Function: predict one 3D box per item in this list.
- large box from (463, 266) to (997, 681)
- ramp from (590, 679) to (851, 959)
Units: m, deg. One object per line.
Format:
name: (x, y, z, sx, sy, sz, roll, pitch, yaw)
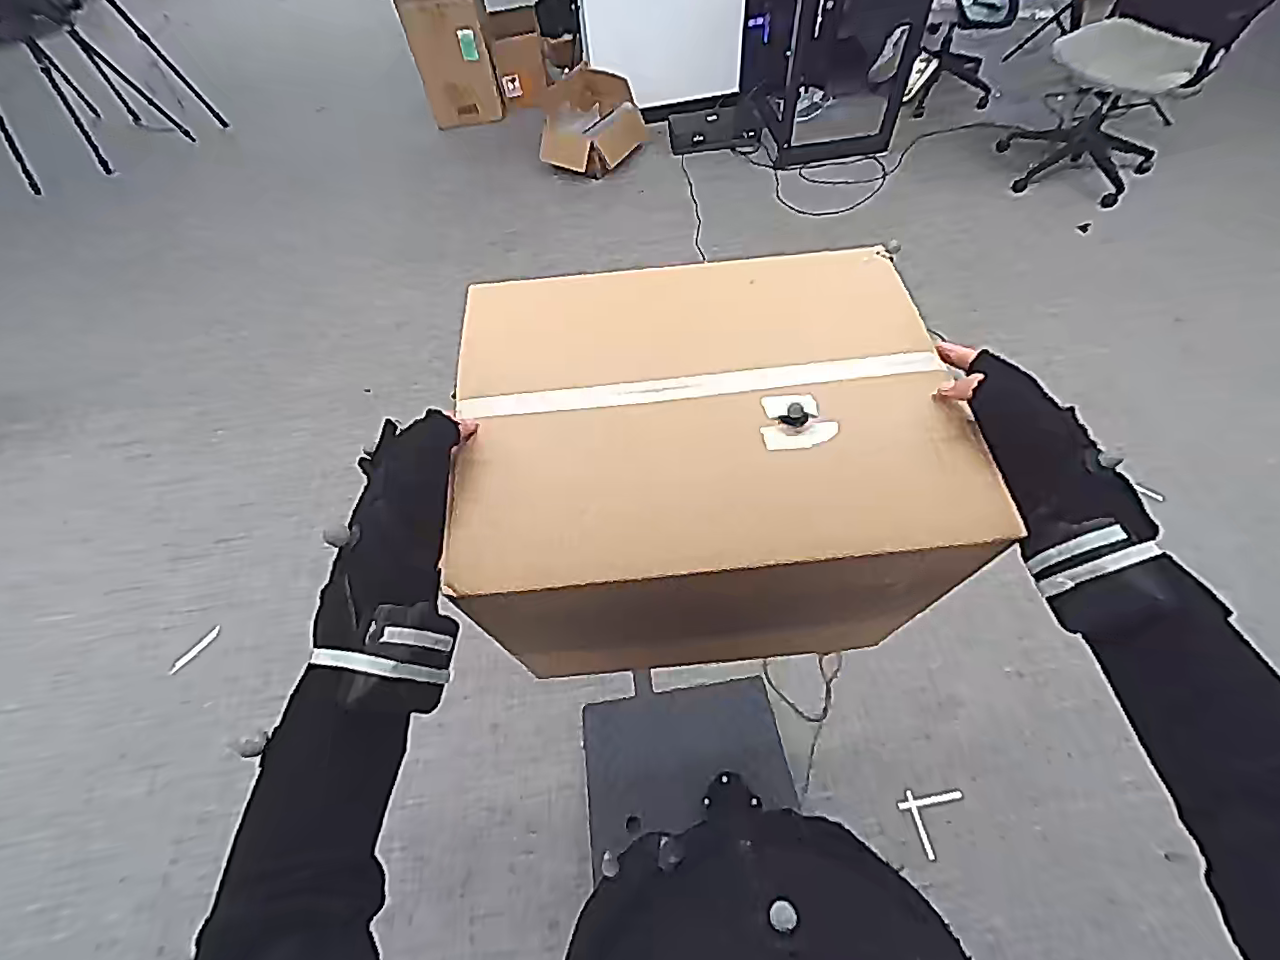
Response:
large box: (0.057, 0.011, 0.594, 0.408, 0.320, 0.320, -6, 59, -1)
ramp: (0.167, 0.940, 1.121, 0.509, 0.206, 0.991, -12, 57, -1)
